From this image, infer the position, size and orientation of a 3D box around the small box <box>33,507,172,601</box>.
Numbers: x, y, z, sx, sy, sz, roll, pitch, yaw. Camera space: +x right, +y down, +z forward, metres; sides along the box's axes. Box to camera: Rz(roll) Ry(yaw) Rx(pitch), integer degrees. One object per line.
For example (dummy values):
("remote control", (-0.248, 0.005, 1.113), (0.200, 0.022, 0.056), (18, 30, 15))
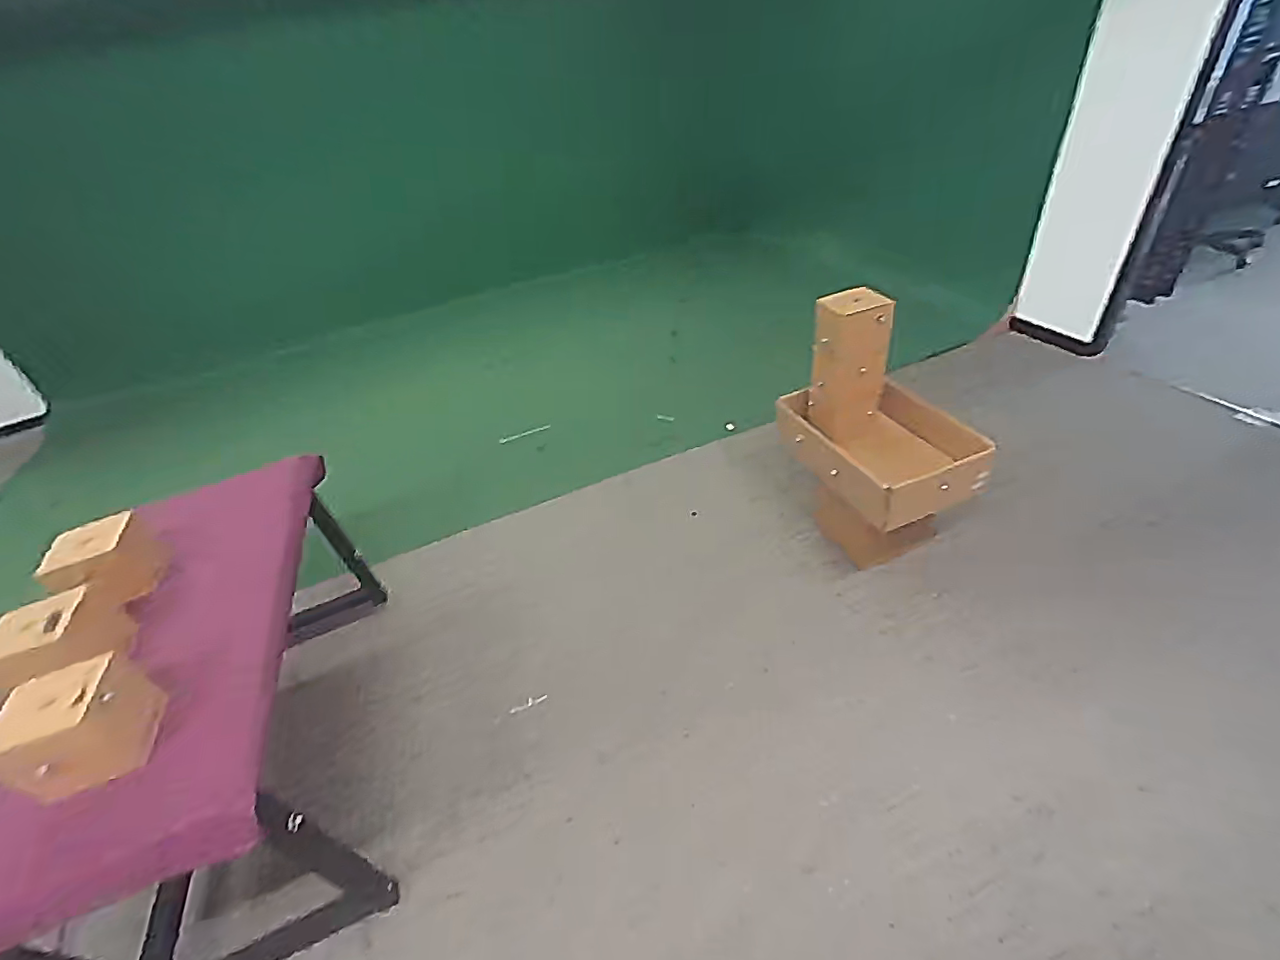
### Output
("small box", (-1.404, 0.207, 1.429), (0.179, 0.176, 0.168), (-21, 41, -13))

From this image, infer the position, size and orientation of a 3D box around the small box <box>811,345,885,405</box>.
("small box", (0.716, -0.384, 1.882), (0.179, 0.176, 0.168), (-18, 39, -9))

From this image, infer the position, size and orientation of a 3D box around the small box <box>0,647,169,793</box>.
("small box", (-1.080, 0.464, 1.043), (0.179, 0.176, 0.168), (-20, 40, -11))

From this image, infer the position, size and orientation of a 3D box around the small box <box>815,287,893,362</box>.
("small box", (0.694, -0.511, 1.779), (0.179, 0.176, 0.168), (-16, 38, -7))

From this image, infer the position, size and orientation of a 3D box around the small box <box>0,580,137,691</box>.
("small box", (-1.300, 0.363, 1.215), (0.179, 0.176, 0.168), (-21, 40, -12))
